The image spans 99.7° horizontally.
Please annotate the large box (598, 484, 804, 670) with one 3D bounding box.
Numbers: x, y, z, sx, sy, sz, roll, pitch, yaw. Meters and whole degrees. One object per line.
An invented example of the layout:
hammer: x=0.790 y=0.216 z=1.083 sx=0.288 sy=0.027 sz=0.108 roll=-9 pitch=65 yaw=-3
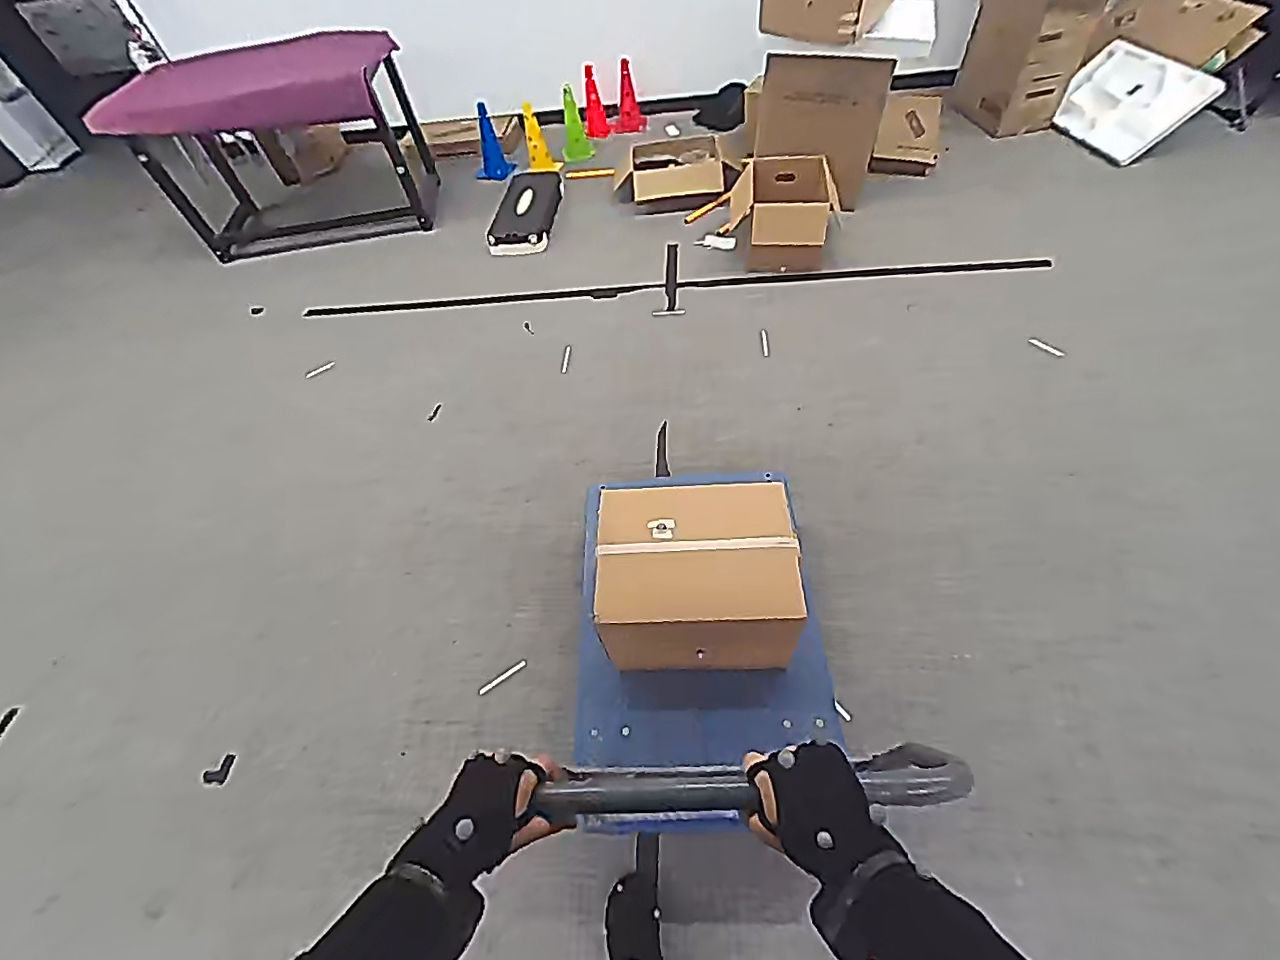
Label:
large box: x=0.130 y=0.233 z=1.242 sx=0.408 sy=0.320 sz=0.320 roll=-4 pitch=53 yaw=5
